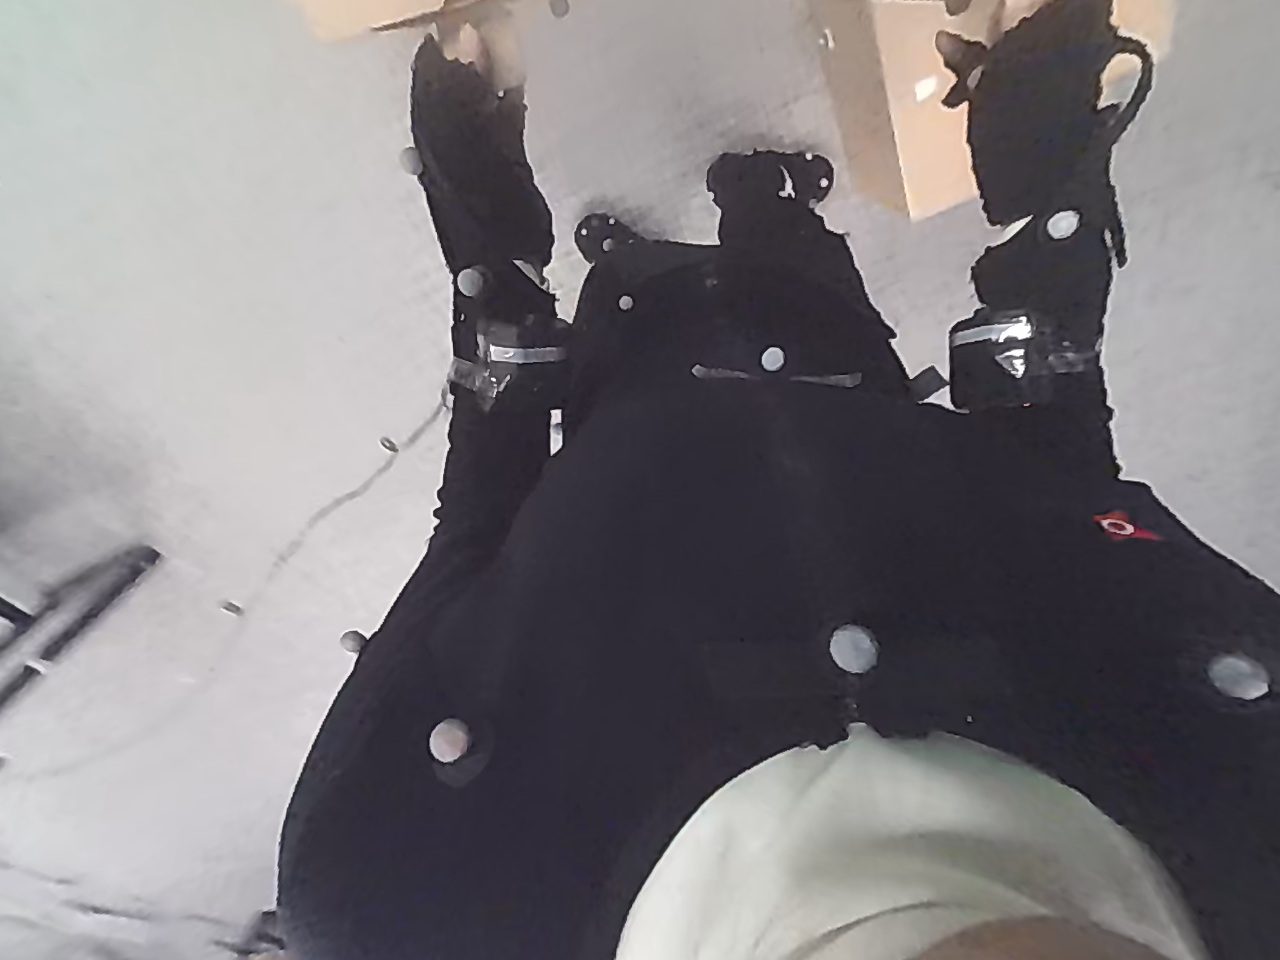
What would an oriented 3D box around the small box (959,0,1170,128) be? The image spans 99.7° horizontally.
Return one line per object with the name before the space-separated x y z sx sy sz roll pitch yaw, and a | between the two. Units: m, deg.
small box | 0.541 -0.601 0.704 0.168 0.176 0.179 -18 124 21
